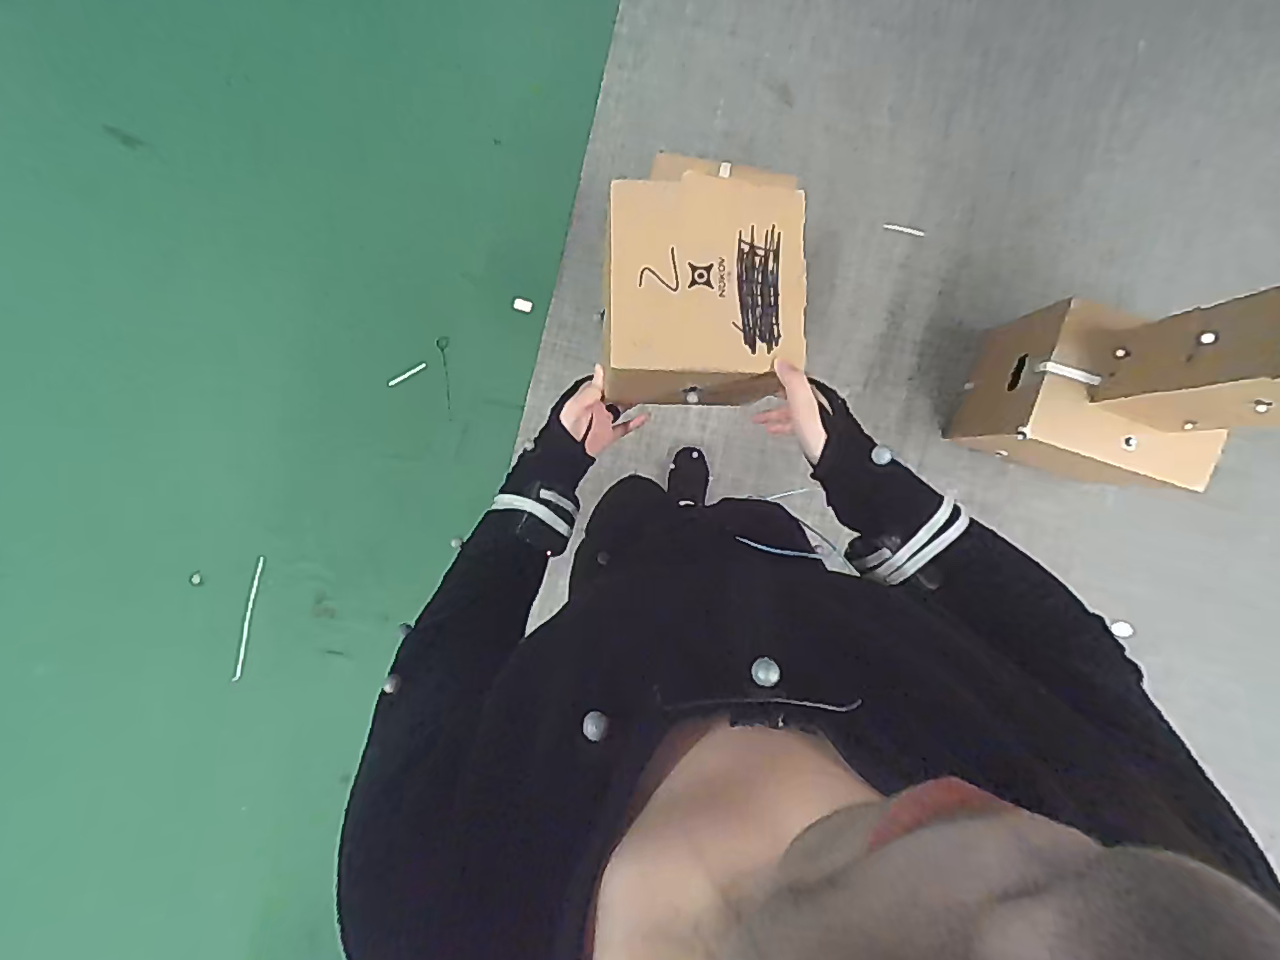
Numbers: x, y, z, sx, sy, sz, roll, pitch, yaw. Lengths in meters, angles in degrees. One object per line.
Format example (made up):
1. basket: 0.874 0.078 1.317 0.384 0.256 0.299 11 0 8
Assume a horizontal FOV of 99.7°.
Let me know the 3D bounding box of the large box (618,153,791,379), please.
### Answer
1. large box: 0.145 -0.488 1.316 0.320 0.320 0.408 12 92 2

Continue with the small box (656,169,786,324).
1. small box: 0.128 -0.379 0.912 0.168 0.176 0.179 14 92 1

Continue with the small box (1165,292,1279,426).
1. small box: 1.044 -0.196 0.885 0.179 0.176 0.168 23 91 2

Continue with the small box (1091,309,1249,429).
1. small box: 1.047 -0.204 1.049 0.179 0.176 0.168 22 91 1
